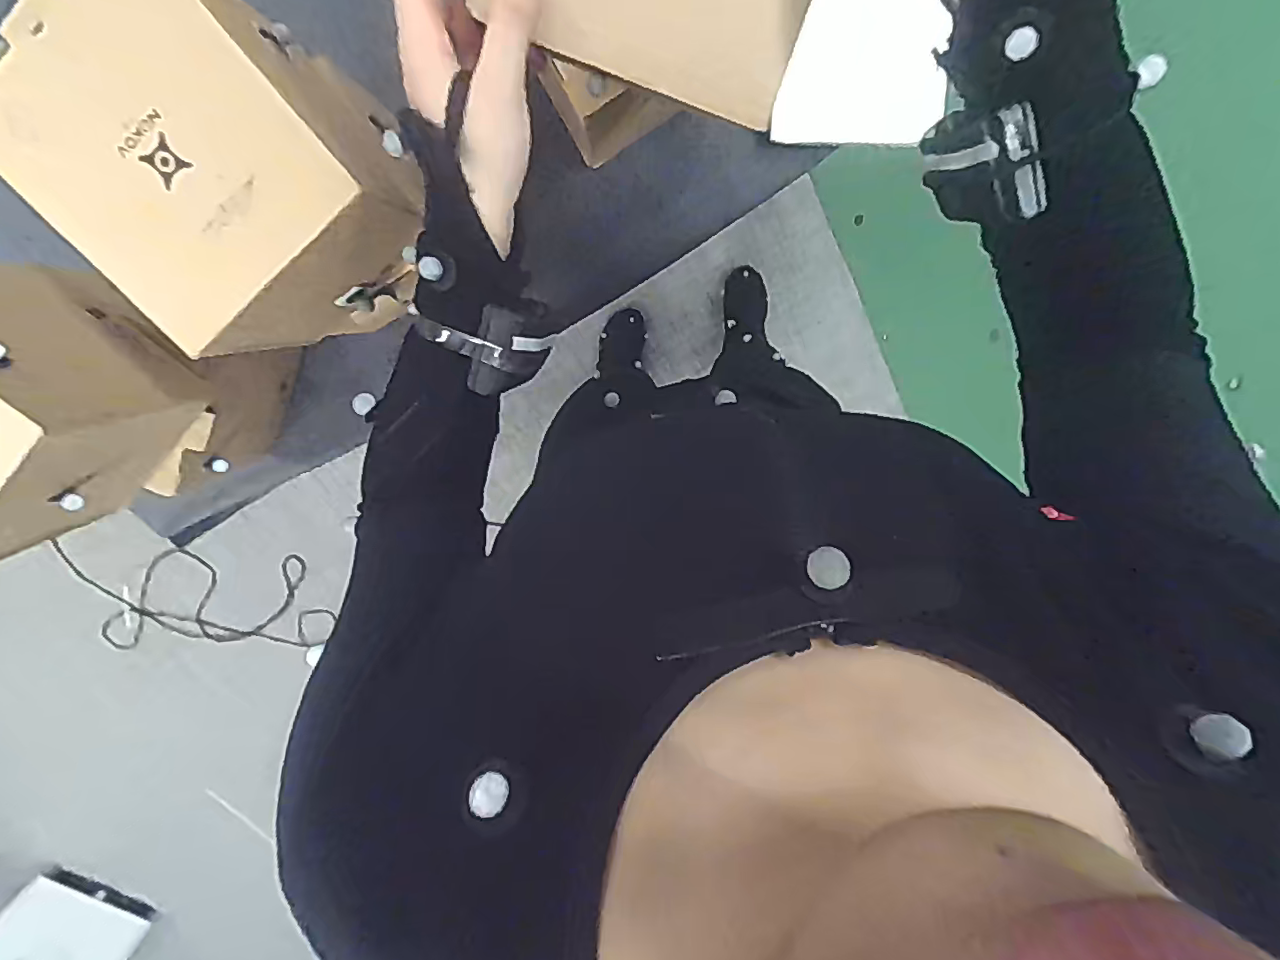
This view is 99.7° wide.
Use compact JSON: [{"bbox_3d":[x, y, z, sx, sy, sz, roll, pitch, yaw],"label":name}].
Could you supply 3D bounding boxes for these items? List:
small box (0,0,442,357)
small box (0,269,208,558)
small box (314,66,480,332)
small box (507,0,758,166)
[{"bbox_3d":[-0.286,-0.215,0.404,0.168,0.176,0.179,-38,106,11],"label":"small box"},{"bbox_3d":[-0.522,-0.053,0.449,0.179,0.176,0.168,-43,104,12],"label":"small box"},{"bbox_3d":[-0.295,-0.264,0.559,0.168,0.176,0.179,-27,107,8],"label":"small box"},{"bbox_3d":[-0.018,-0.438,0.511,0.179,0.176,0.168,-30,105,9],"label":"small box"}]
